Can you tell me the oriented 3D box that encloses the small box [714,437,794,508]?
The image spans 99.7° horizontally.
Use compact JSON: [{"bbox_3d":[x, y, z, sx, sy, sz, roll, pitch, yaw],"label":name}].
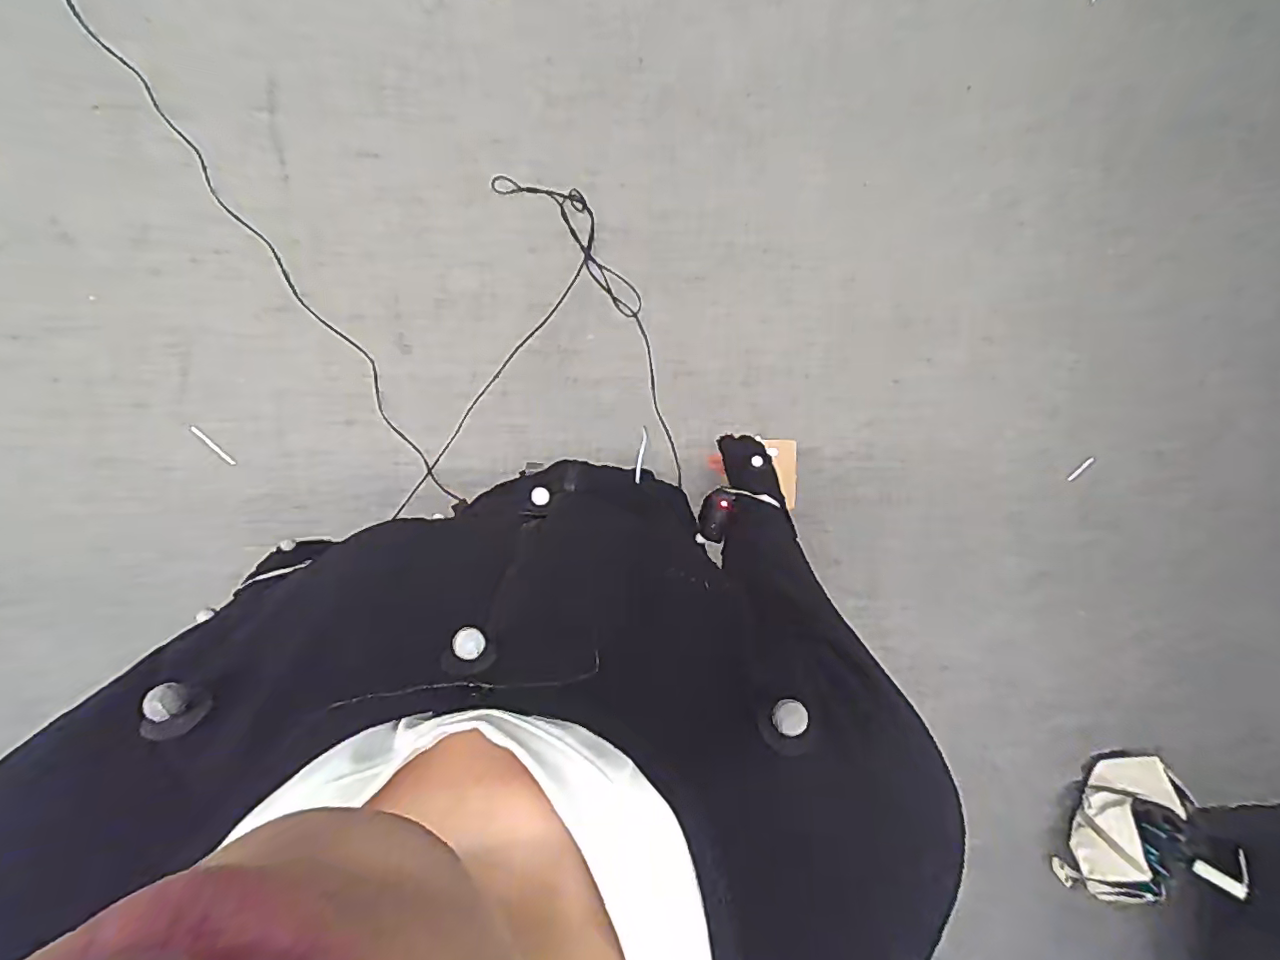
[{"bbox_3d":[0.298,-0.021,1.439,0.168,0.176,0.179,2,91,-5],"label":"small box"}]
